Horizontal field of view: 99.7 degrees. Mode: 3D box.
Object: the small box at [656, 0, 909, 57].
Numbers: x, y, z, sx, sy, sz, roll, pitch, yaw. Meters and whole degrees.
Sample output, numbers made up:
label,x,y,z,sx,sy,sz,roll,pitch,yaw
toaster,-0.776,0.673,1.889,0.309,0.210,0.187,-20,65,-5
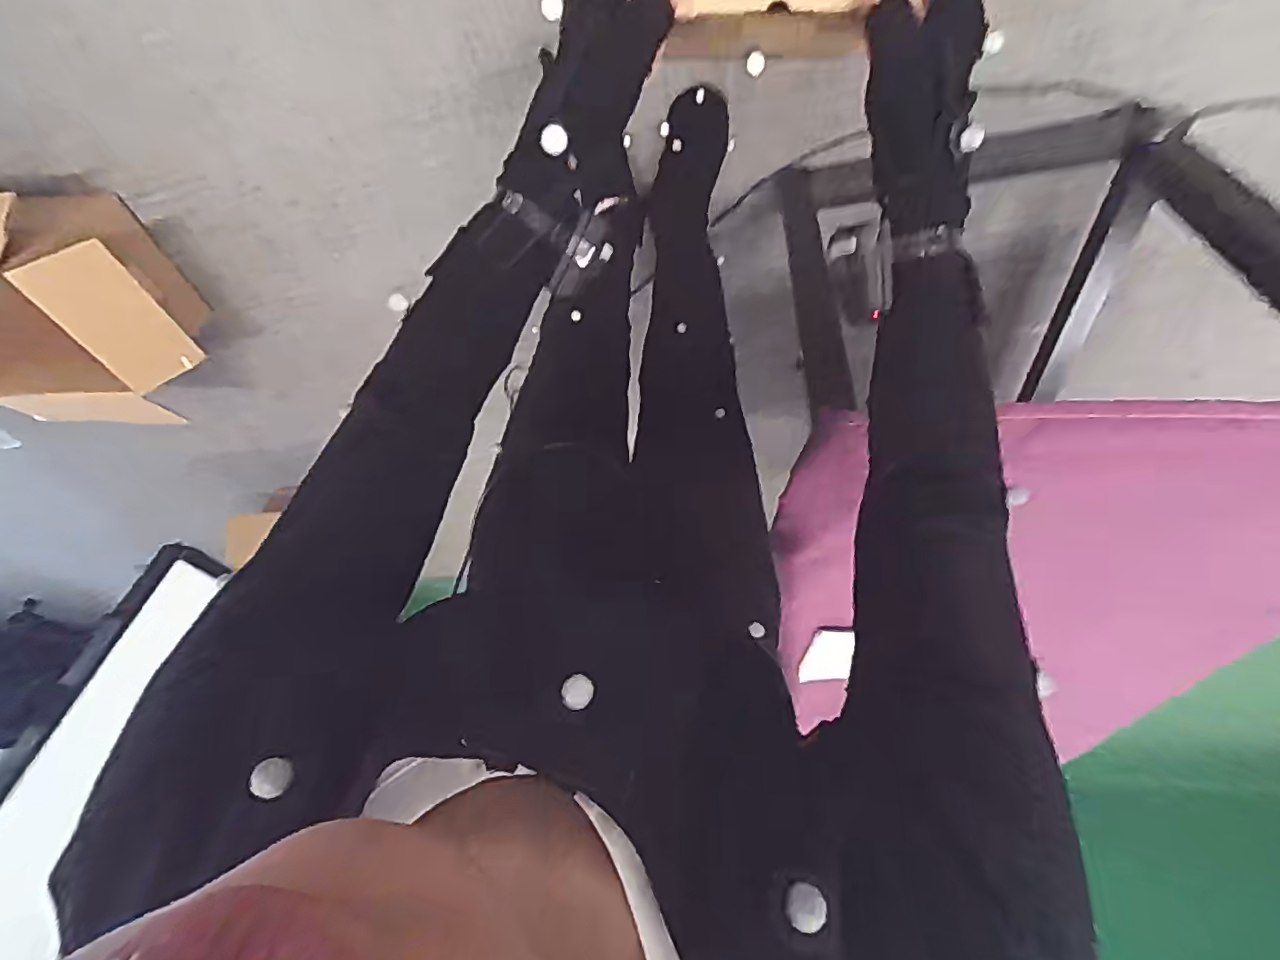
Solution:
label,x,y,z,sx,sy,sz,roll,pitch,yaw
small box,0.096,-0.419,0.372,0.168,0.176,0.179,2,120,2
